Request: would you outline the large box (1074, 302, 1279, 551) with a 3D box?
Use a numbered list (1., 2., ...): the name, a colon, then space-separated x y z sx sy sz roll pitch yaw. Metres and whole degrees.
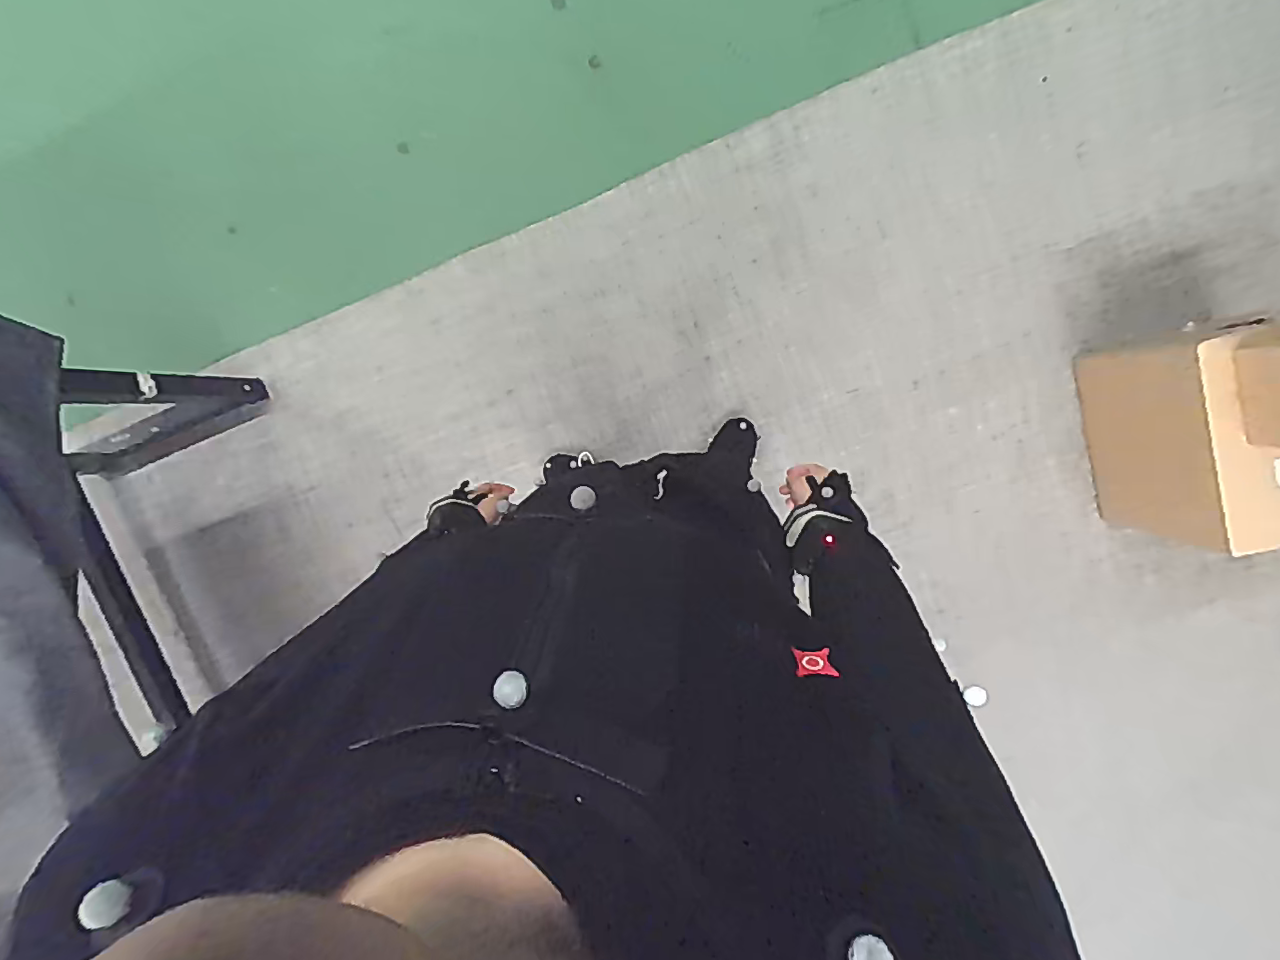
1. large box: 1.178 -0.120 1.099 0.320 0.320 0.408 -16 98 7
